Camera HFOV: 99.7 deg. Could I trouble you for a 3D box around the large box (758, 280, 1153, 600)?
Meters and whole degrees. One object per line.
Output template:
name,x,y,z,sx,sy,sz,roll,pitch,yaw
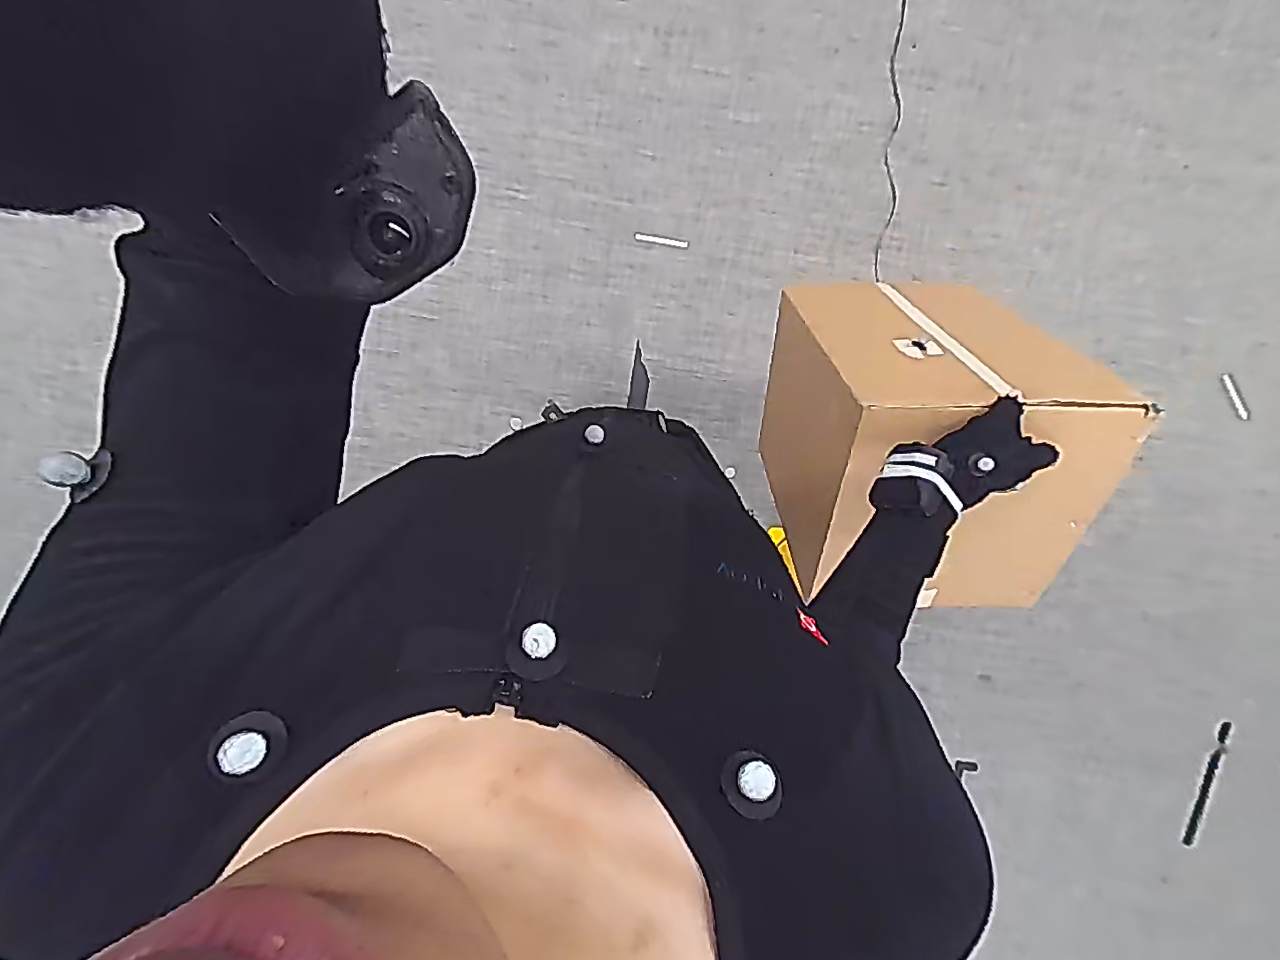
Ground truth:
large box,0.381,-0.076,0.808,0.320,0.408,0.320,0,128,1

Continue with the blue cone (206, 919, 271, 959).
blue cone,-1.224,1.450,1.481,0.192,0.380,0.193,12,97,-1
